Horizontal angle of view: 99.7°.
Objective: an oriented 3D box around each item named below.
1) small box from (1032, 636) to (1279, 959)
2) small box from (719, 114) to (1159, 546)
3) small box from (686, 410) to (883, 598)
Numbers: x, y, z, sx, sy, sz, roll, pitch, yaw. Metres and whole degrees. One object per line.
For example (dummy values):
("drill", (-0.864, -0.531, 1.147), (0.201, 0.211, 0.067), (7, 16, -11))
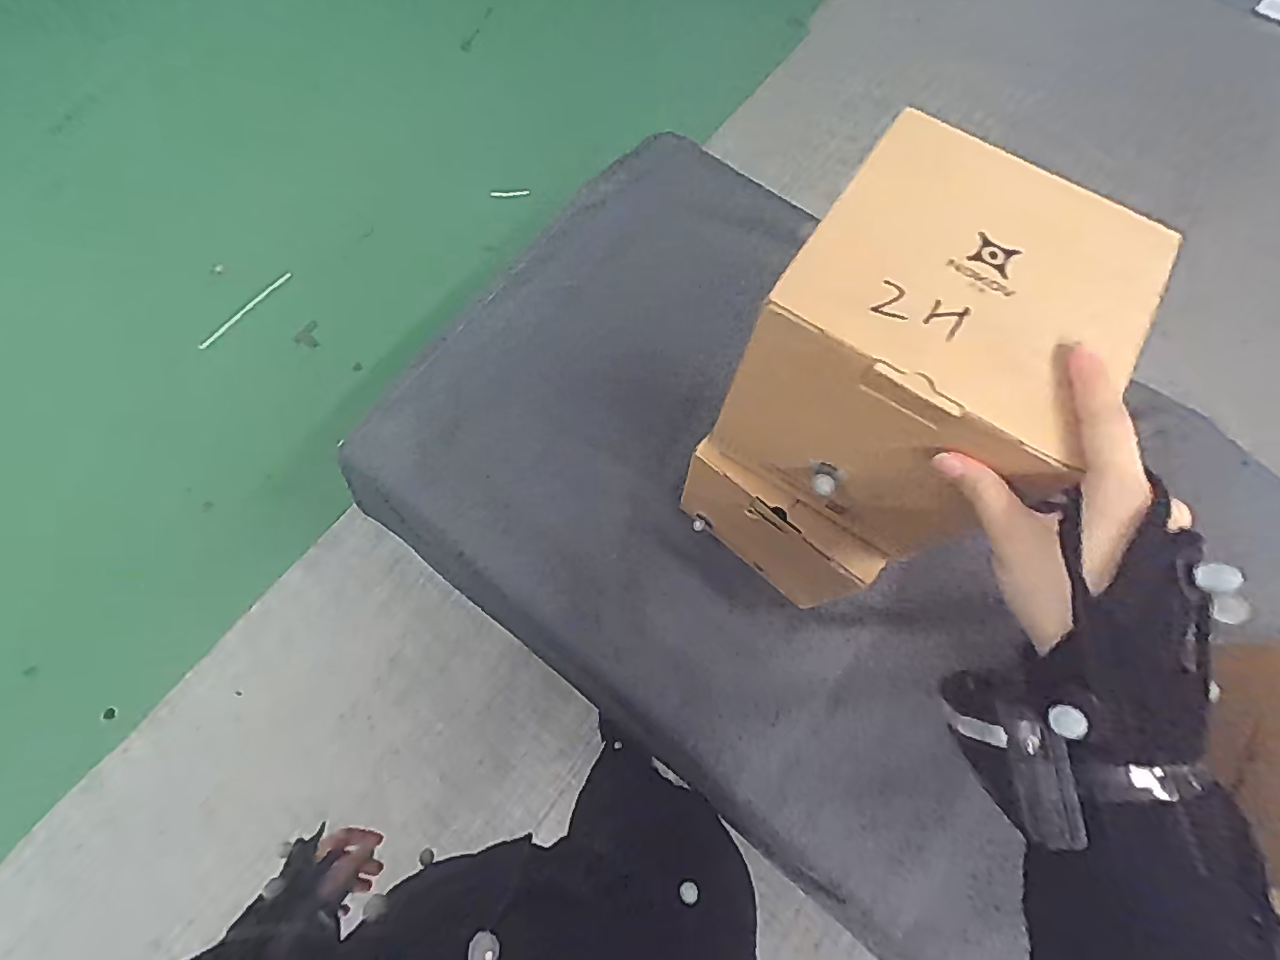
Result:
("small box", (0.461, 0.247, 0.426), (0.168, 0.176, 0.179), (35, 75, 11))
("small box", (0.170, -0.083, 0.359), (0.168, 0.176, 0.179), (32, 71, 9))
("small box", (0.157, -0.009, 0.512), (0.168, 0.176, 0.179), (40, 75, 12))
